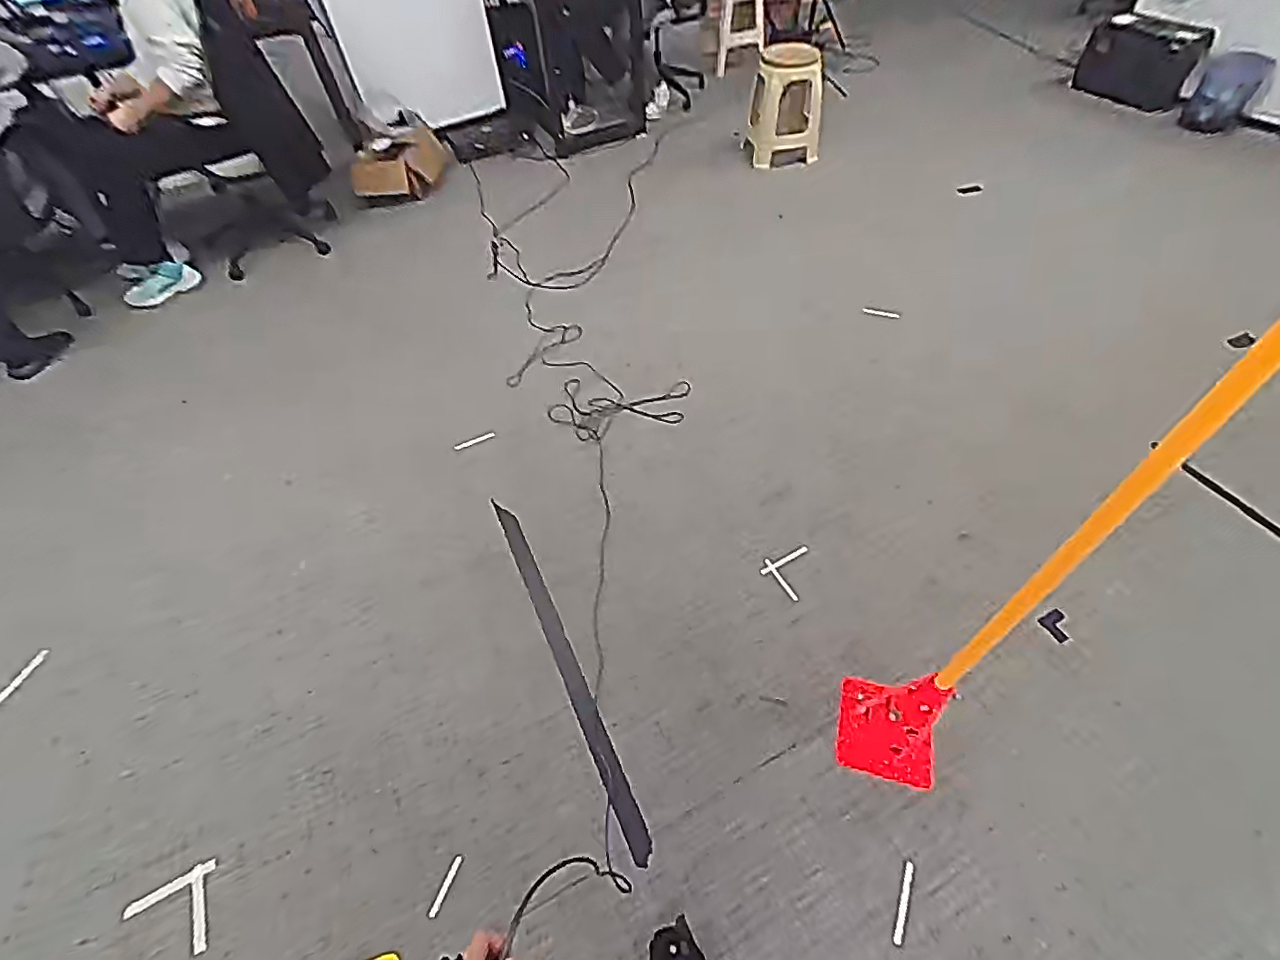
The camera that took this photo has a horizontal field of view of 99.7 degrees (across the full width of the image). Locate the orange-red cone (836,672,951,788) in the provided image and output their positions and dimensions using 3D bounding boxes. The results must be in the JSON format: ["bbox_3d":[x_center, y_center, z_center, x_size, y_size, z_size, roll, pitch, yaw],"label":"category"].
[{"bbox_3d":[0.534,0.455,1.071,0.198,0.360,0.199,12,56,15],"label":"orange-red cone"}]
